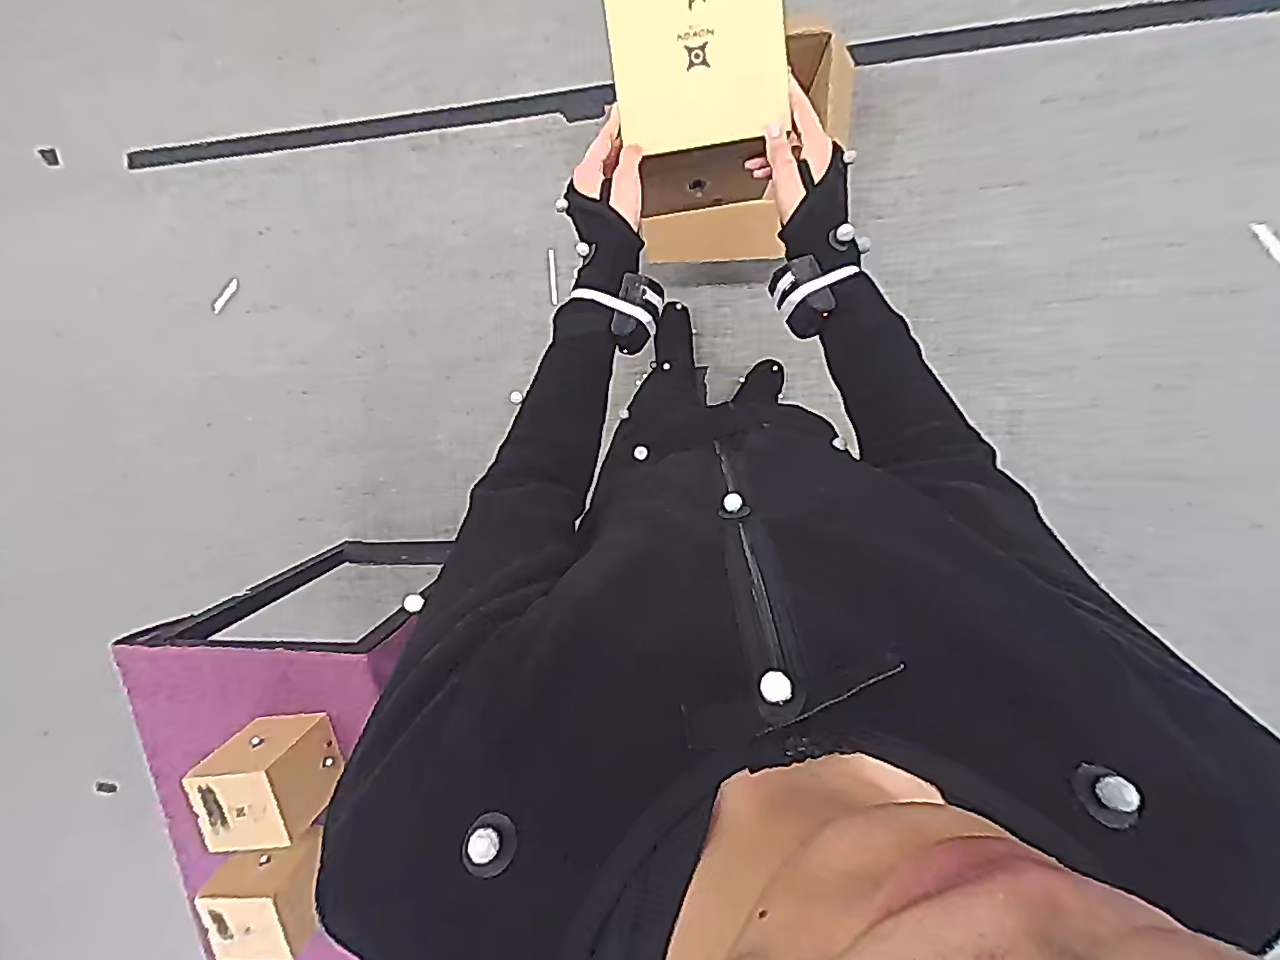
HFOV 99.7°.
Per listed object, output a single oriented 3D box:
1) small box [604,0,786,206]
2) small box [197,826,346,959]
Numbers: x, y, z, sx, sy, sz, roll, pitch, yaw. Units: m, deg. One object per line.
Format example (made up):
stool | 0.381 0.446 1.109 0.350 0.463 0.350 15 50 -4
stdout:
small box | 0.056 -0.424 0.599 0.168 0.176 0.179 -7 96 3
small box | -0.769 0.866 1.144 0.179 0.176 0.168 -7 102 9
